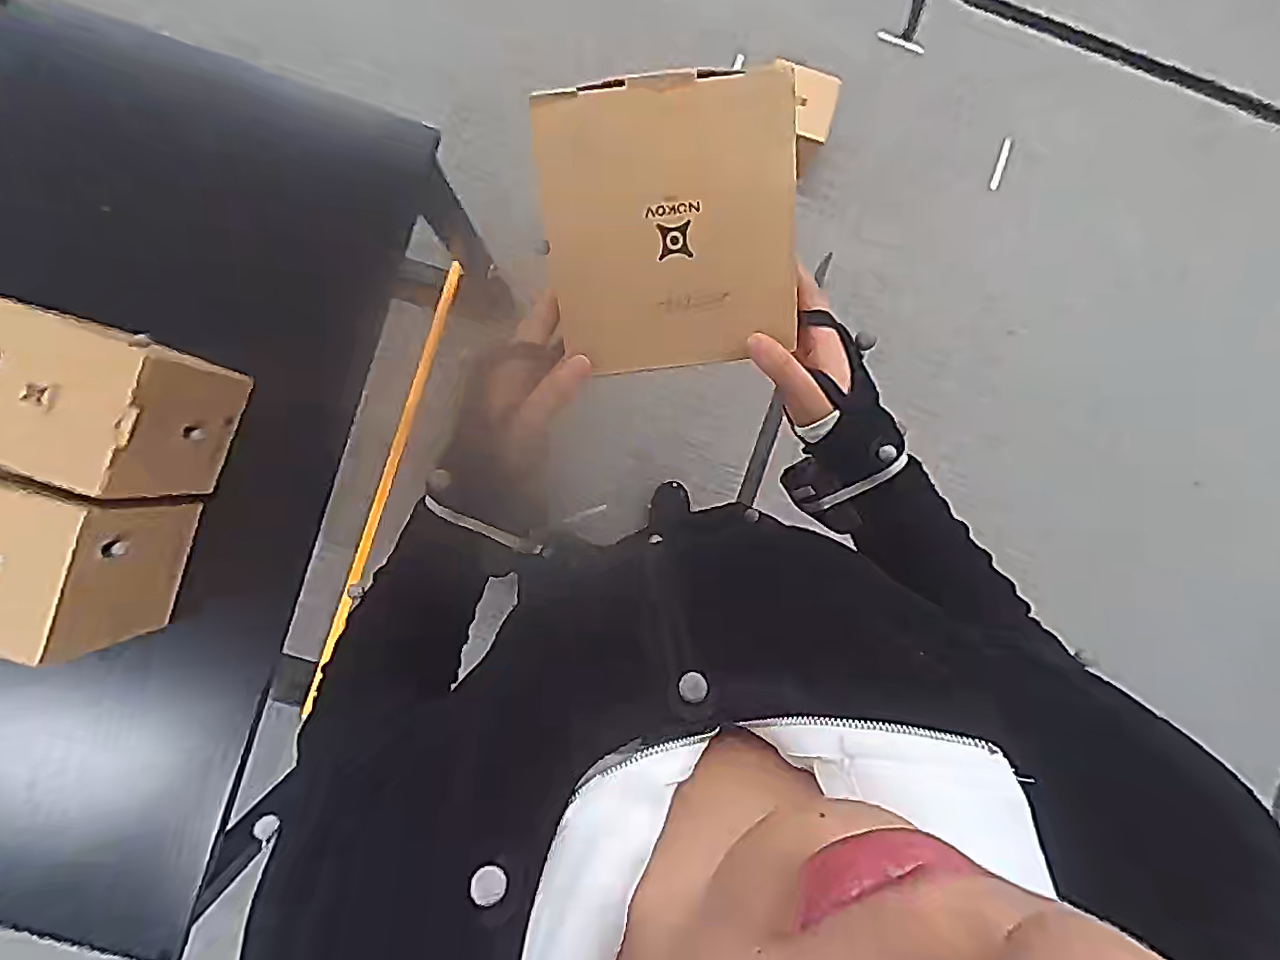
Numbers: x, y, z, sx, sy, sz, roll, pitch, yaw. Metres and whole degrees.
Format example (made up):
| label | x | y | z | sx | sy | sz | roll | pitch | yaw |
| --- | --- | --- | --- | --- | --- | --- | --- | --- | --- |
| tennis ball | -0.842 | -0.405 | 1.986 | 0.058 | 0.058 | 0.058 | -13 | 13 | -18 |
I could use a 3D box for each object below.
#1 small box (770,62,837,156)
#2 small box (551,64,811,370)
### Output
| label | x | y | z | sx | sy | sz | roll | pitch | yaw |
| --- | --- | --- | --- | --- | --- | --- | --- | --- | --- |
| small box | 0.385 | -0.939 | 1.423 | 0.179 | 0.176 | 0.168 | 15 | 90 | -4 |
| small box | 0.026 | -0.193 | 0.433 | 0.168 | 0.176 | 0.179 | -6 | 111 | -1 |
